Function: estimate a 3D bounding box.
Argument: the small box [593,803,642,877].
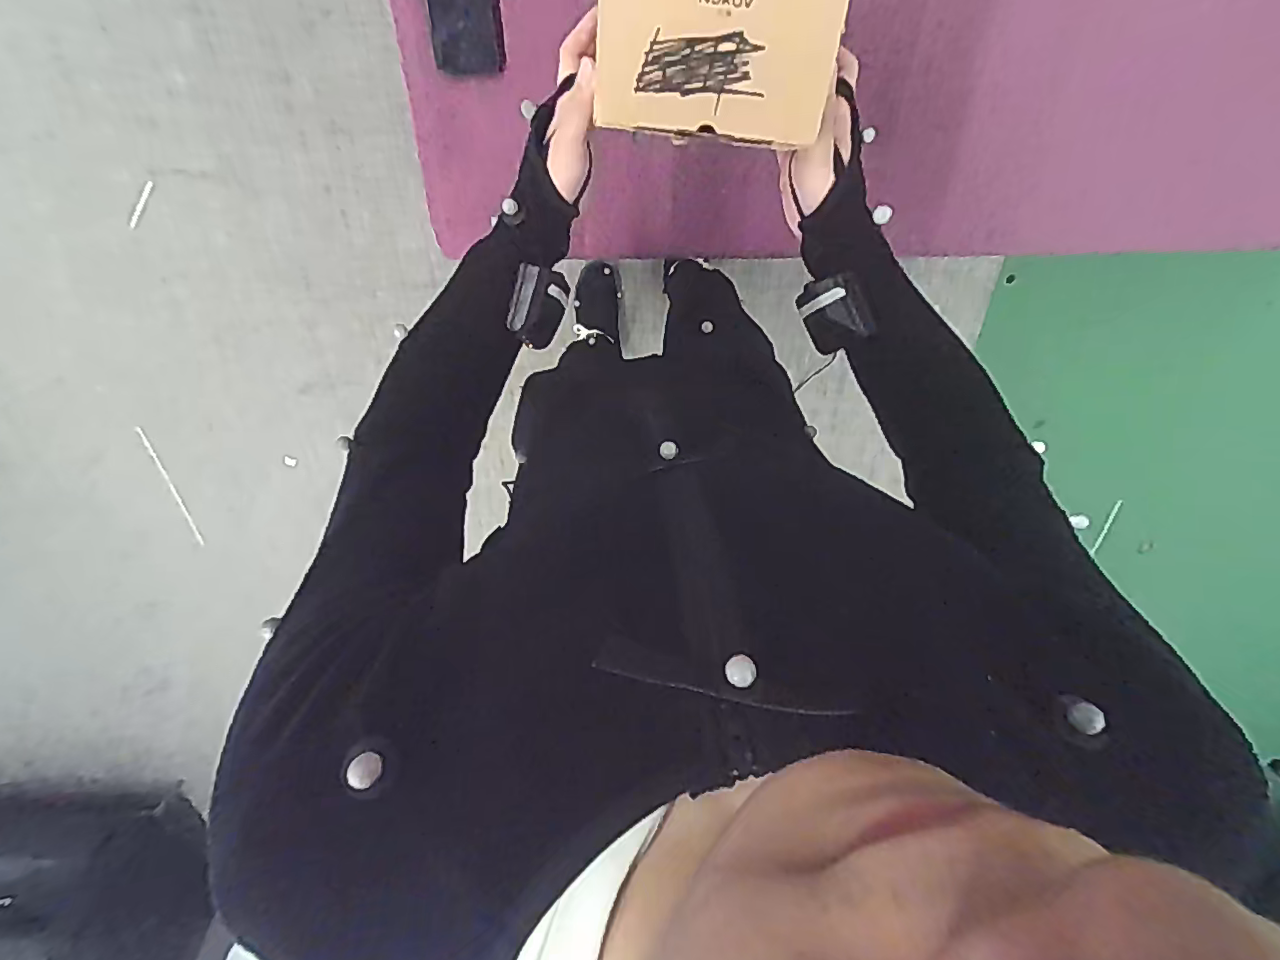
[{"bbox_3d":[-0.083,1.341,2.015,0.168,0.176,0.179,5,120,-1],"label":"small box"}]

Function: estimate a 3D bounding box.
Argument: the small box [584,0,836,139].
[{"bbox_3d":[0.051,-0.375,0.411,0.168,0.176,0.179,5,124,-2],"label":"small box"}]
